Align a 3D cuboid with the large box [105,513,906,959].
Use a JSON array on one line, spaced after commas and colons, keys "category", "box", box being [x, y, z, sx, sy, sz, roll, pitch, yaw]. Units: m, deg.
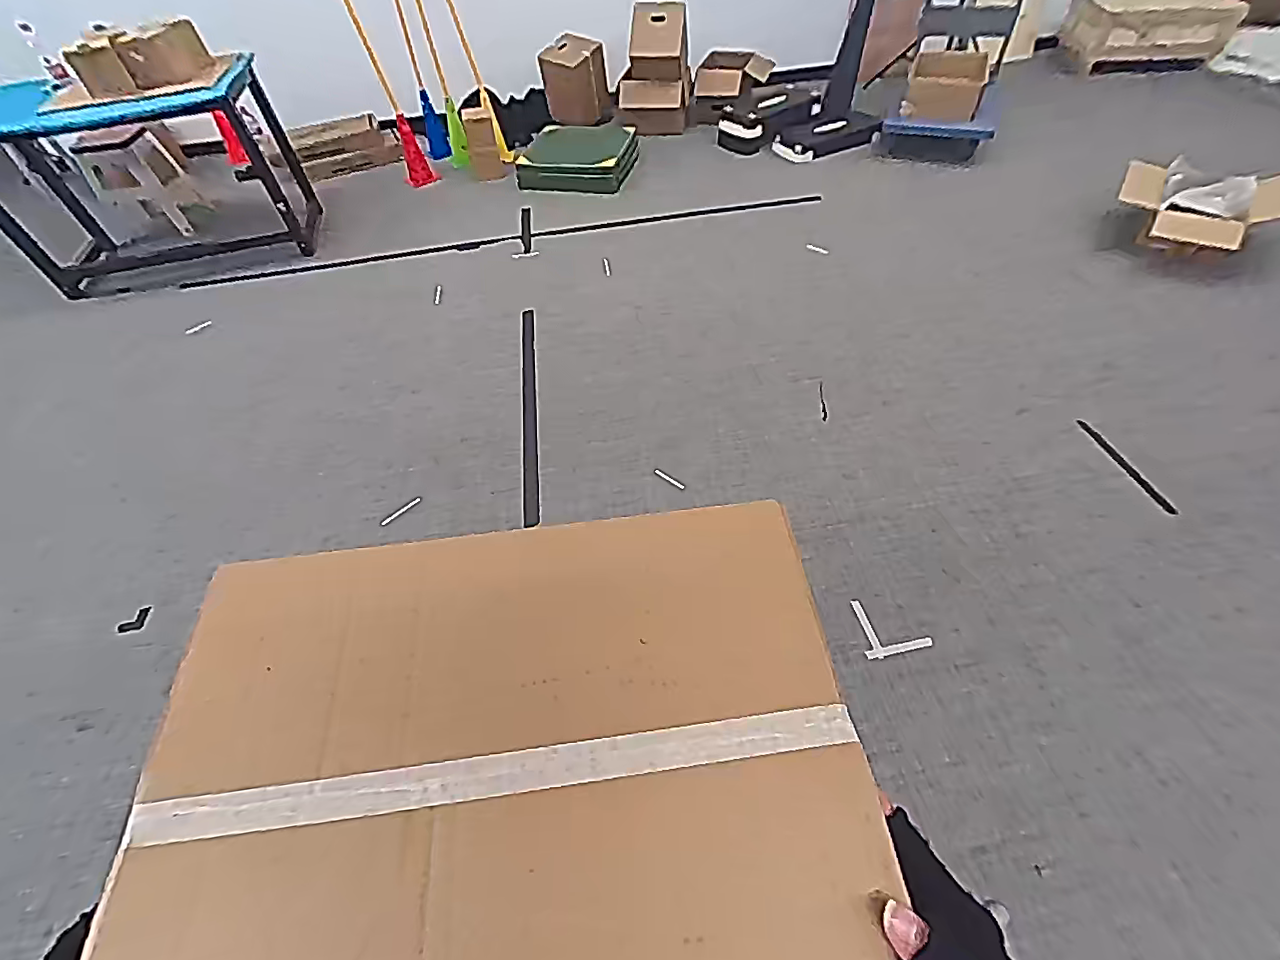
[{"category": "large box", "box": [-0.073, 0.256, 0.439, 0.408, 0.320, 0.320, -7, 56, -3]}]
